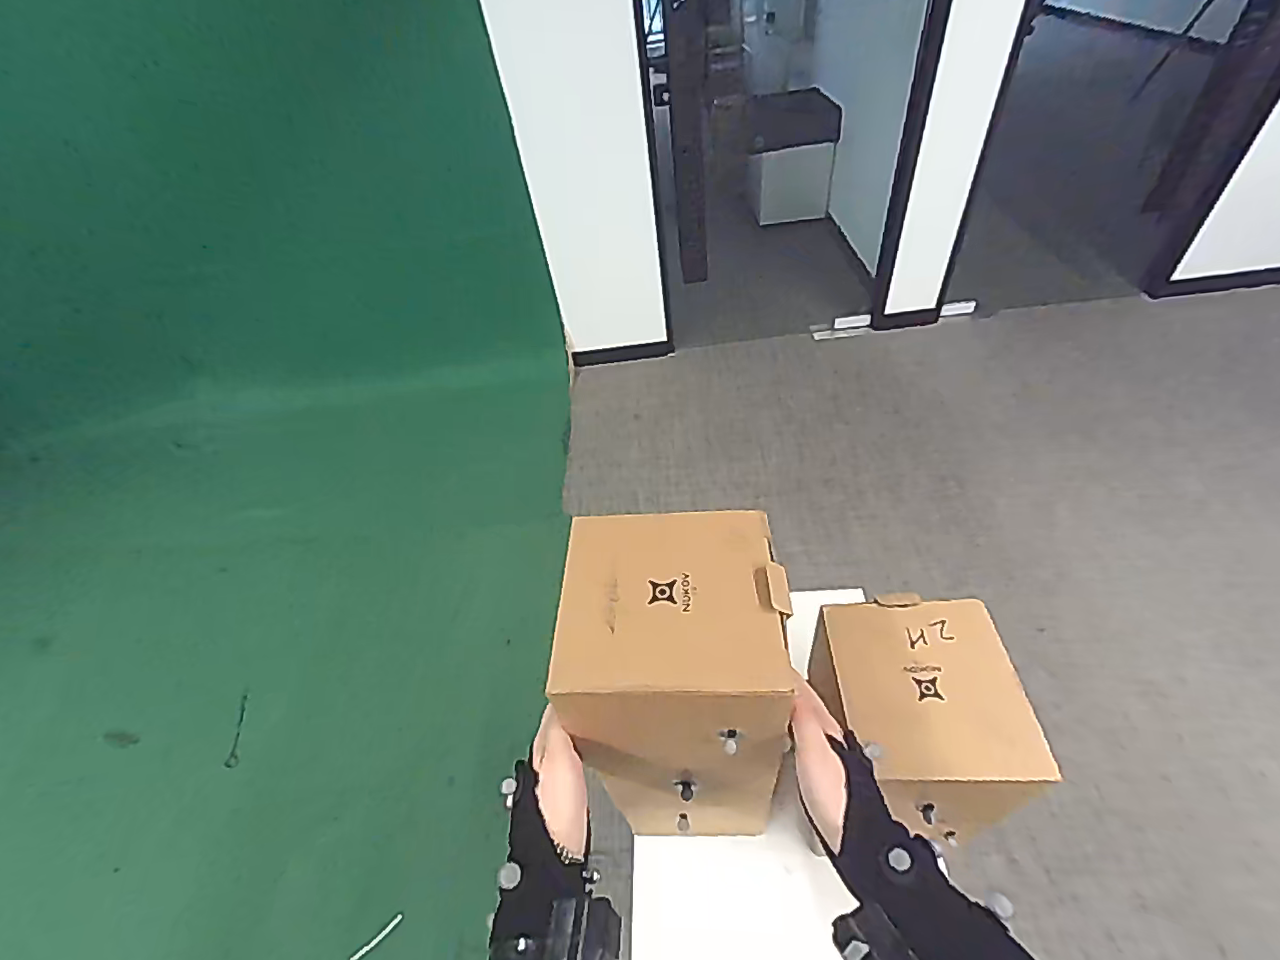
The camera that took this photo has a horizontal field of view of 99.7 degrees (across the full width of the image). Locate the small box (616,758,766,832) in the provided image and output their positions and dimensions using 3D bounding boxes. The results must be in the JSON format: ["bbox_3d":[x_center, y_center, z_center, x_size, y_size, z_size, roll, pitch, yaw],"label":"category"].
[{"bbox_3d":[0.068,0.364,0.730,0.179,0.176,0.168,-3,47,4],"label":"small box"}]

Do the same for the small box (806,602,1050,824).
[{"bbox_3d":[0.279,0.250,0.575,0.168,0.176,0.179,-3,46,7],"label":"small box"}]

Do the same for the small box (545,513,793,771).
[{"bbox_3d":[0.029,0.147,0.486,0.179,0.176,0.168,-3,45,6],"label":"small box"}]
